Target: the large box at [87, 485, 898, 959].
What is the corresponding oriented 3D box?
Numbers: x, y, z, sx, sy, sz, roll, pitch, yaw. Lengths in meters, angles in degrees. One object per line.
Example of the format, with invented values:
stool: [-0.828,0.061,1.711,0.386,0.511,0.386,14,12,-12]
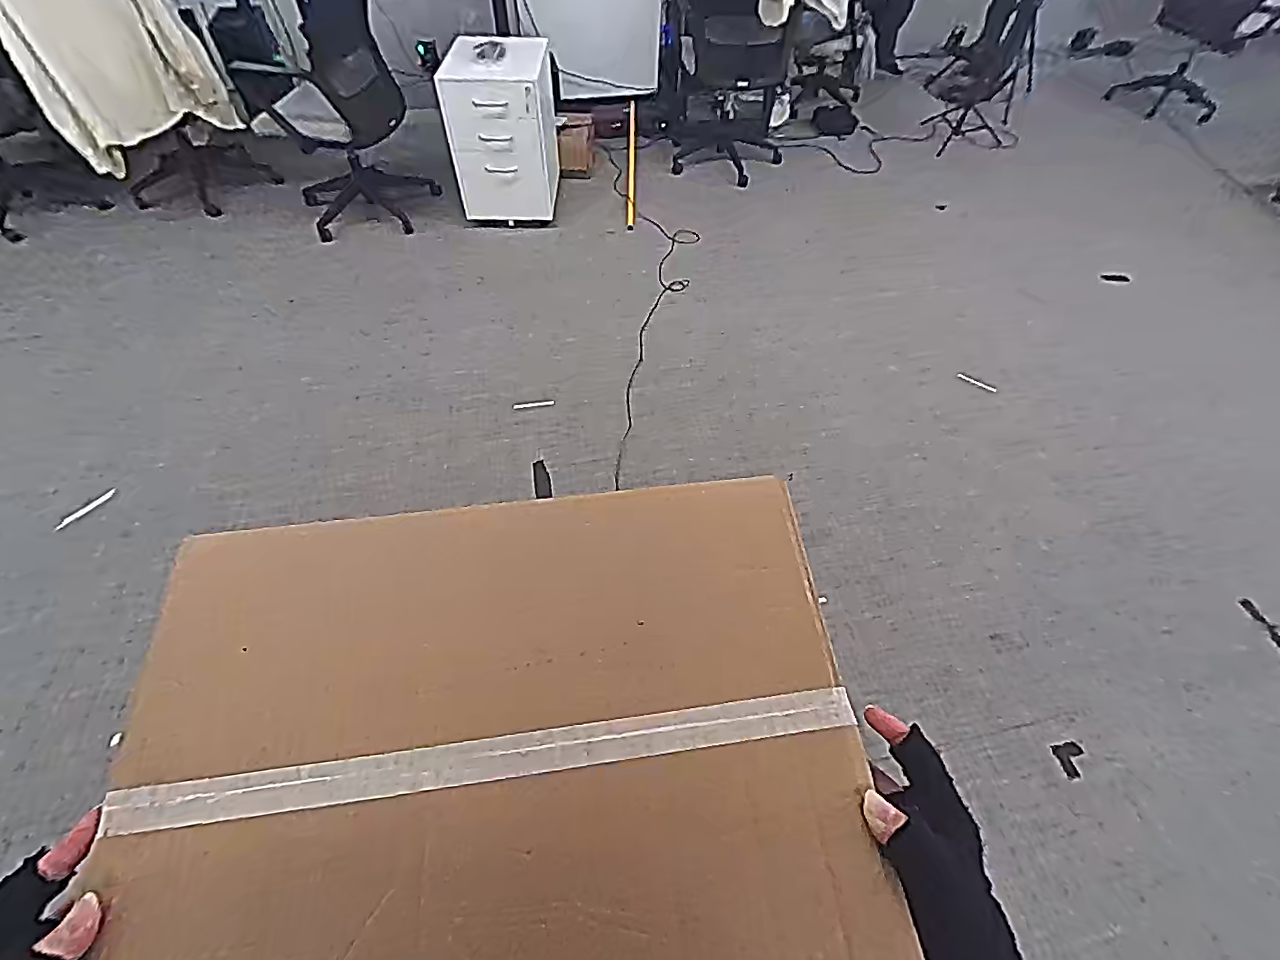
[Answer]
large box: [-0.084,0.228,0.444,0.408,0.320,0.320,-6,61,-5]
